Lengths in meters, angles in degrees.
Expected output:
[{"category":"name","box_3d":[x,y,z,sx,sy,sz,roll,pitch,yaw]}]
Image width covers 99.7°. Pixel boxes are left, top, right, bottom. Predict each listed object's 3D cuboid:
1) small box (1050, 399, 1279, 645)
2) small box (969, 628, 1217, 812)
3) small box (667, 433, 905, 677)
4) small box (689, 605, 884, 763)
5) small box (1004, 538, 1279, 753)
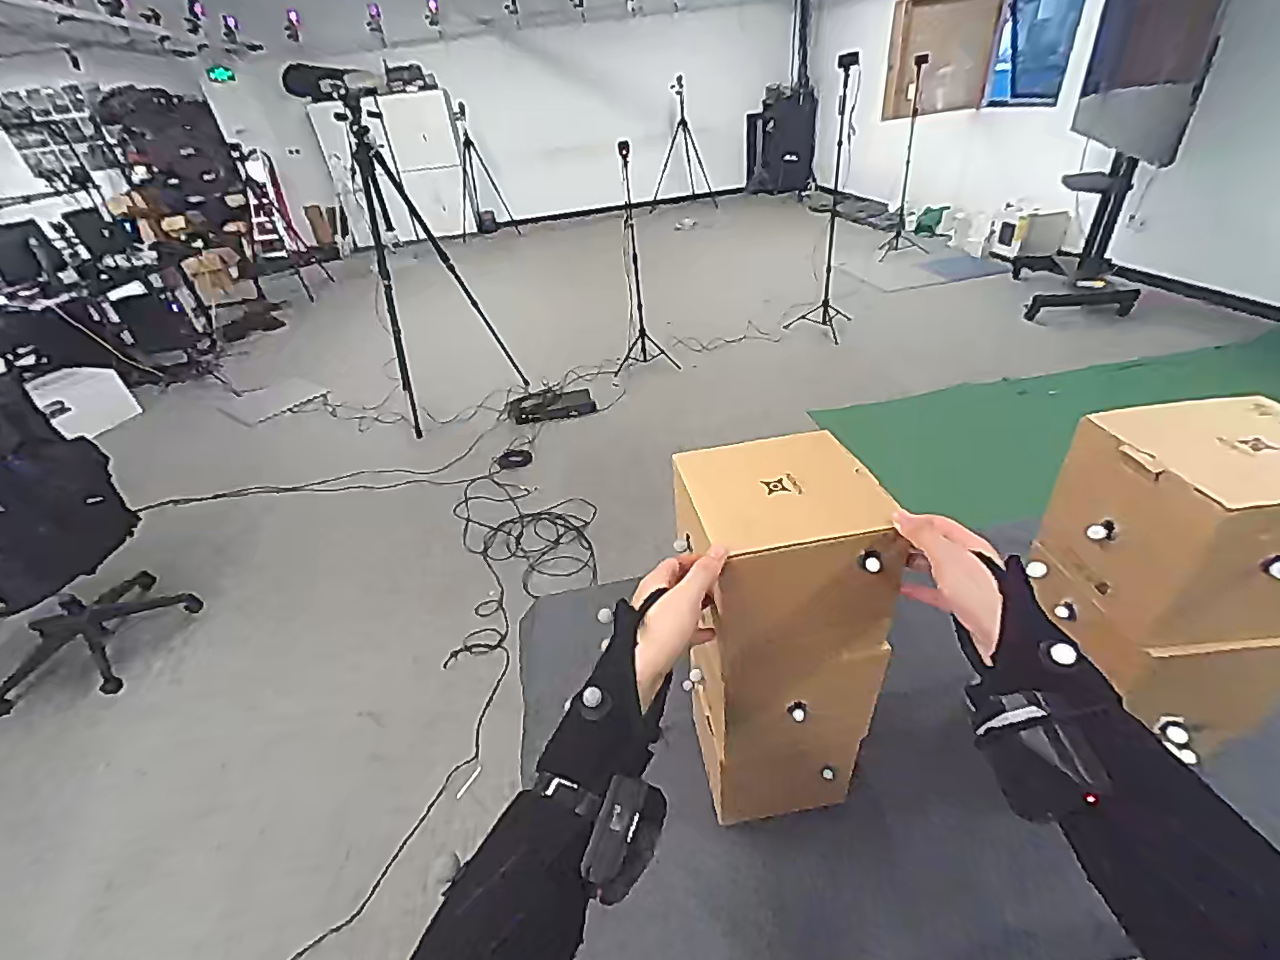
[{"category":"small box","box_3d":[0.541,0.041,0.524,0.179,0.176,0.168,-6,34,4]},{"category":"small box","box_3d":[0.575,0.306,0.711,0.179,0.176,0.168,-8,34,0]},{"category":"small box","box_3d":[0.133,0.075,0.552,0.179,0.176,0.168,-9,35,-6]},{"category":"small box","box_3d":[0.158,0.206,0.645,0.179,0.176,0.168,-10,35,-3]},{"category":"small box","box_3d":[0.558,0.177,0.614,0.168,0.176,0.179,-7,35,3]}]
